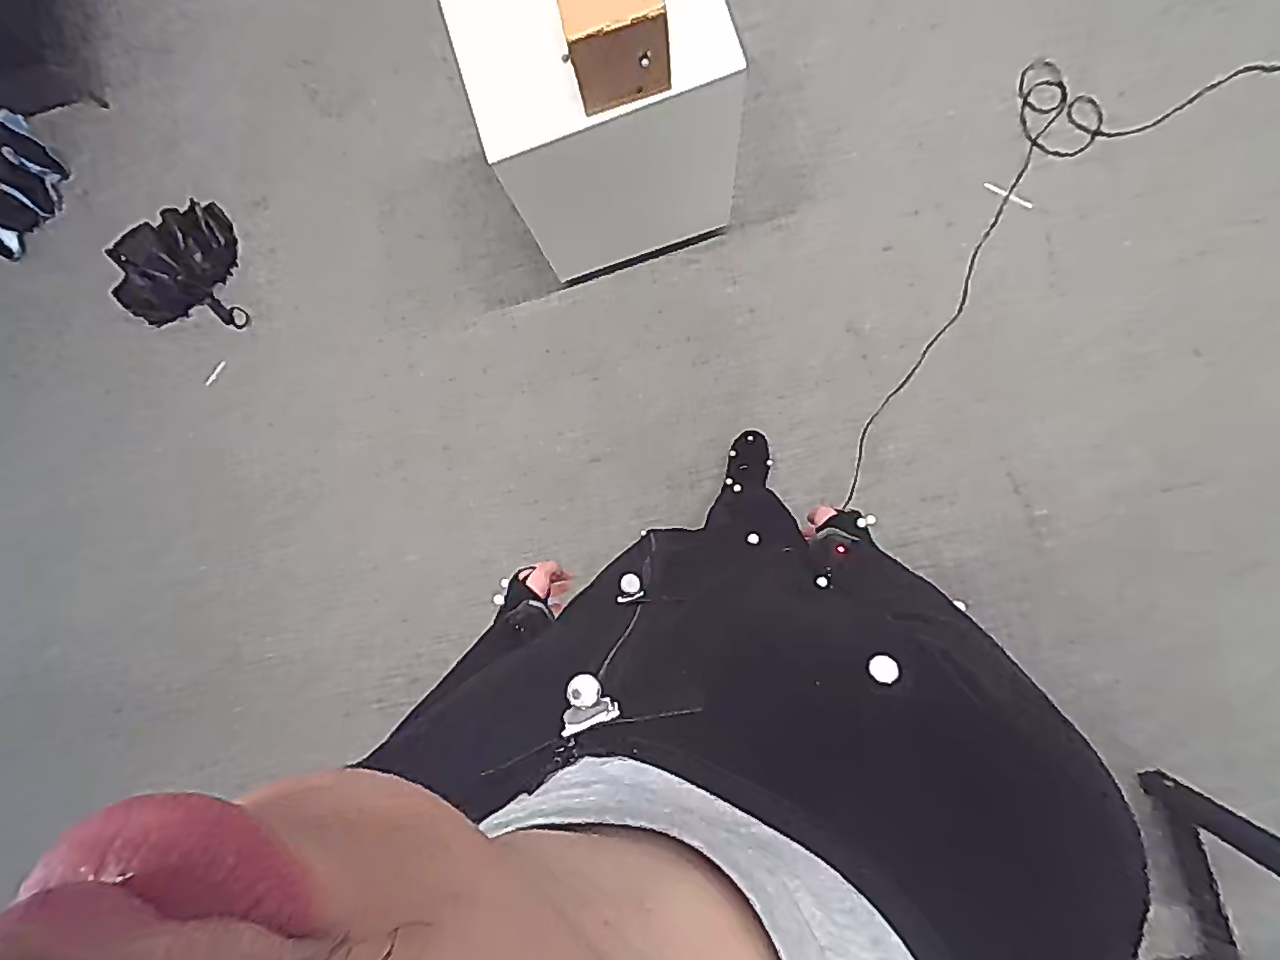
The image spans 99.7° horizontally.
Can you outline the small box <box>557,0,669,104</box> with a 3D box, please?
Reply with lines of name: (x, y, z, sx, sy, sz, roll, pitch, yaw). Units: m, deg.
small box: (-0.048, -0.787, 0.925, 0.168, 0.176, 0.179, -15, 84, 3)
